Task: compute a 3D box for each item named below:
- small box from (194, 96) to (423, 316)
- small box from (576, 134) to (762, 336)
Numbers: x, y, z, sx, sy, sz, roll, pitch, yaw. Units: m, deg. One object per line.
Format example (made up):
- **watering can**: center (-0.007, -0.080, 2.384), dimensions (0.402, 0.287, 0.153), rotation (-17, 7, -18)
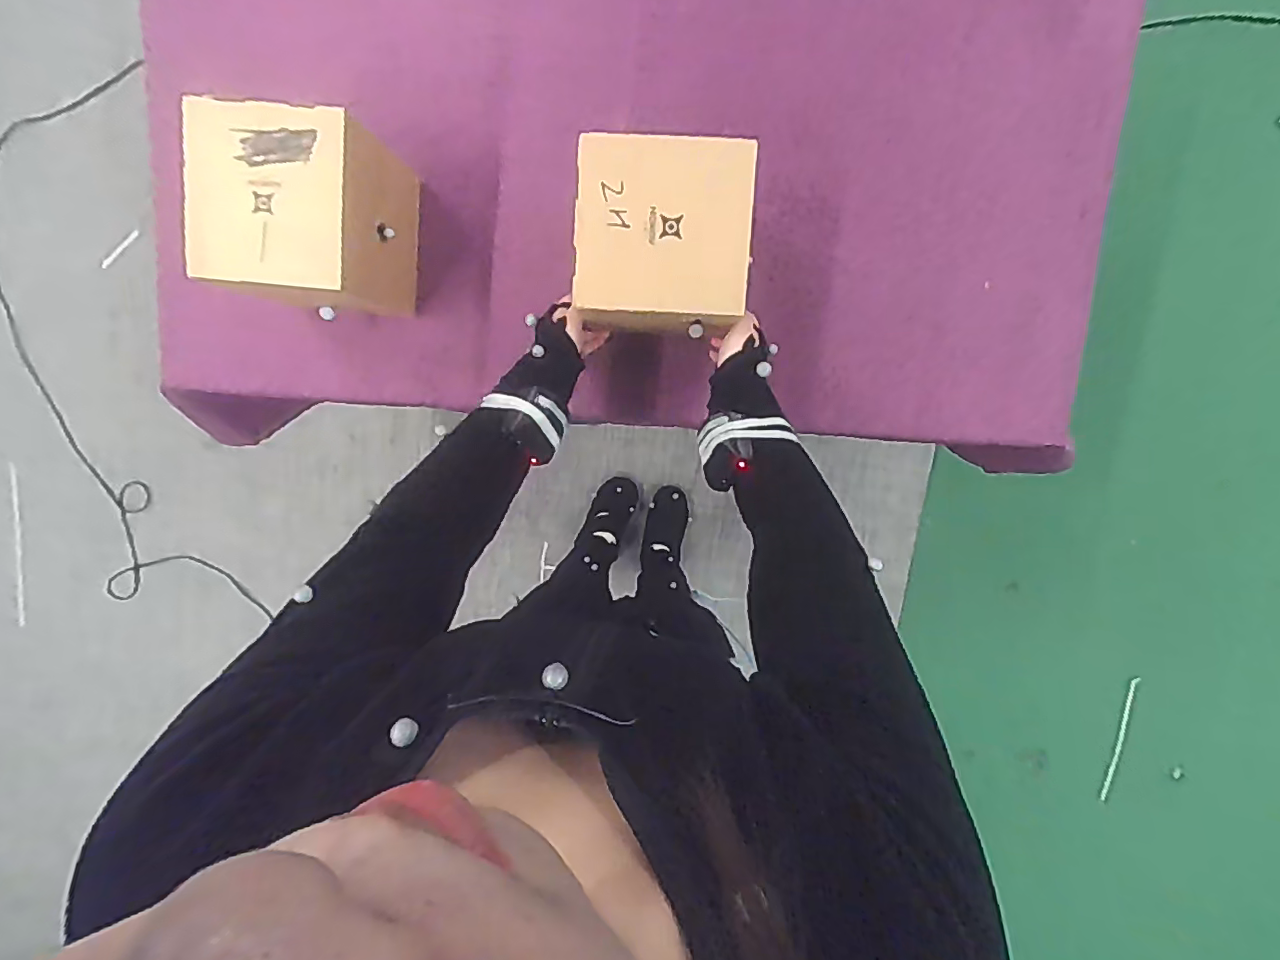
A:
- **small box**: center (-0.367, -0.299, 0.626), dimensions (0.168, 0.176, 0.179), rotation (6, 99, 2)
- **small box**: center (0.030, -0.261, 0.613), dimensions (0.179, 0.176, 0.168), rotation (4, 97, 3)
